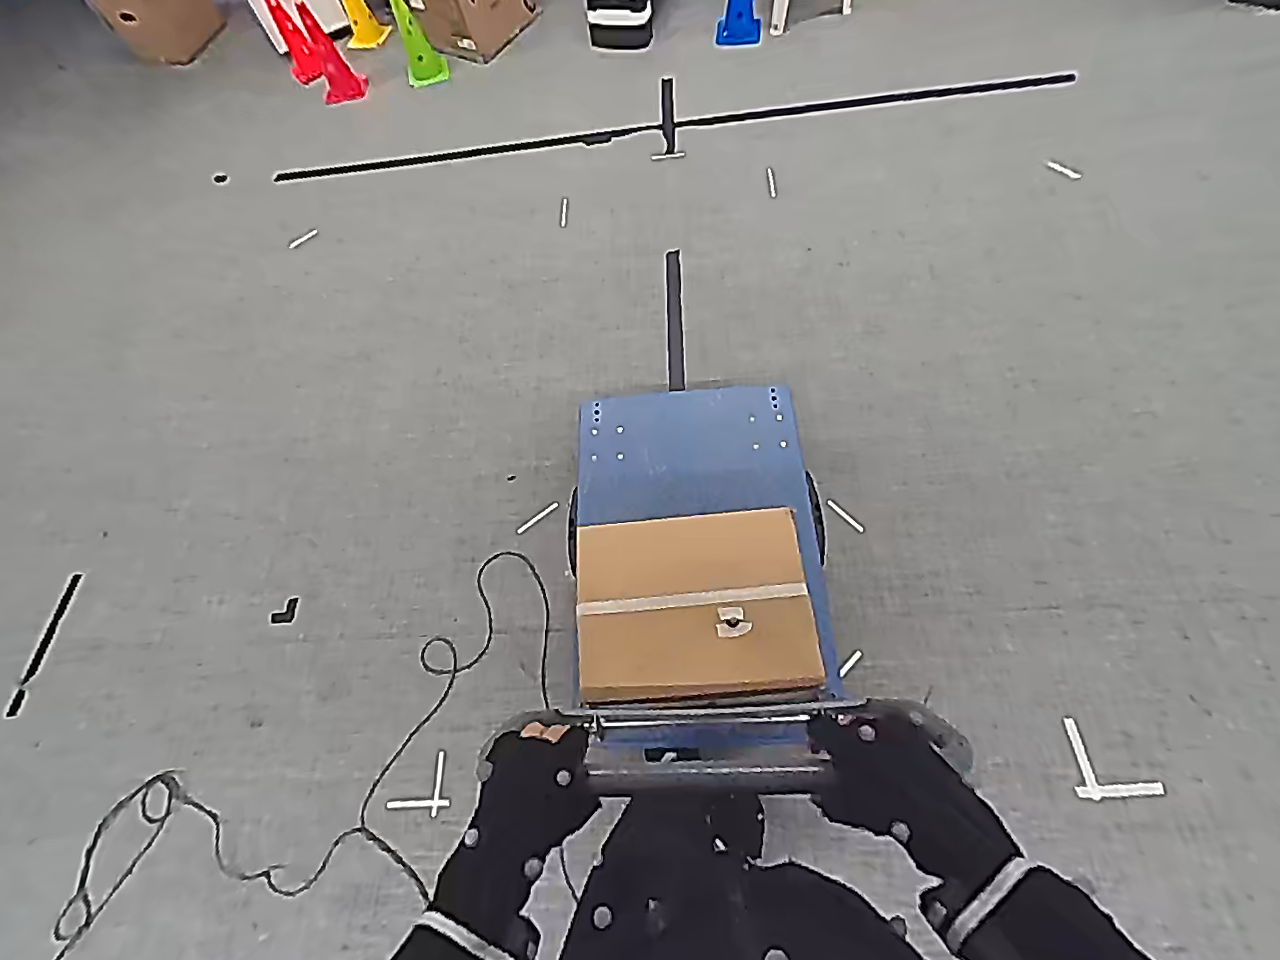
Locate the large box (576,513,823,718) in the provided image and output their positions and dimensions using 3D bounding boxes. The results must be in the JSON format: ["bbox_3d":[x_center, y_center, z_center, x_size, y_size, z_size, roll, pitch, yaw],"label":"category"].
[{"bbox_3d":[0.100,0.284,1.074,0.408,0.320,0.320,-6,65,3],"label":"large box"}]
